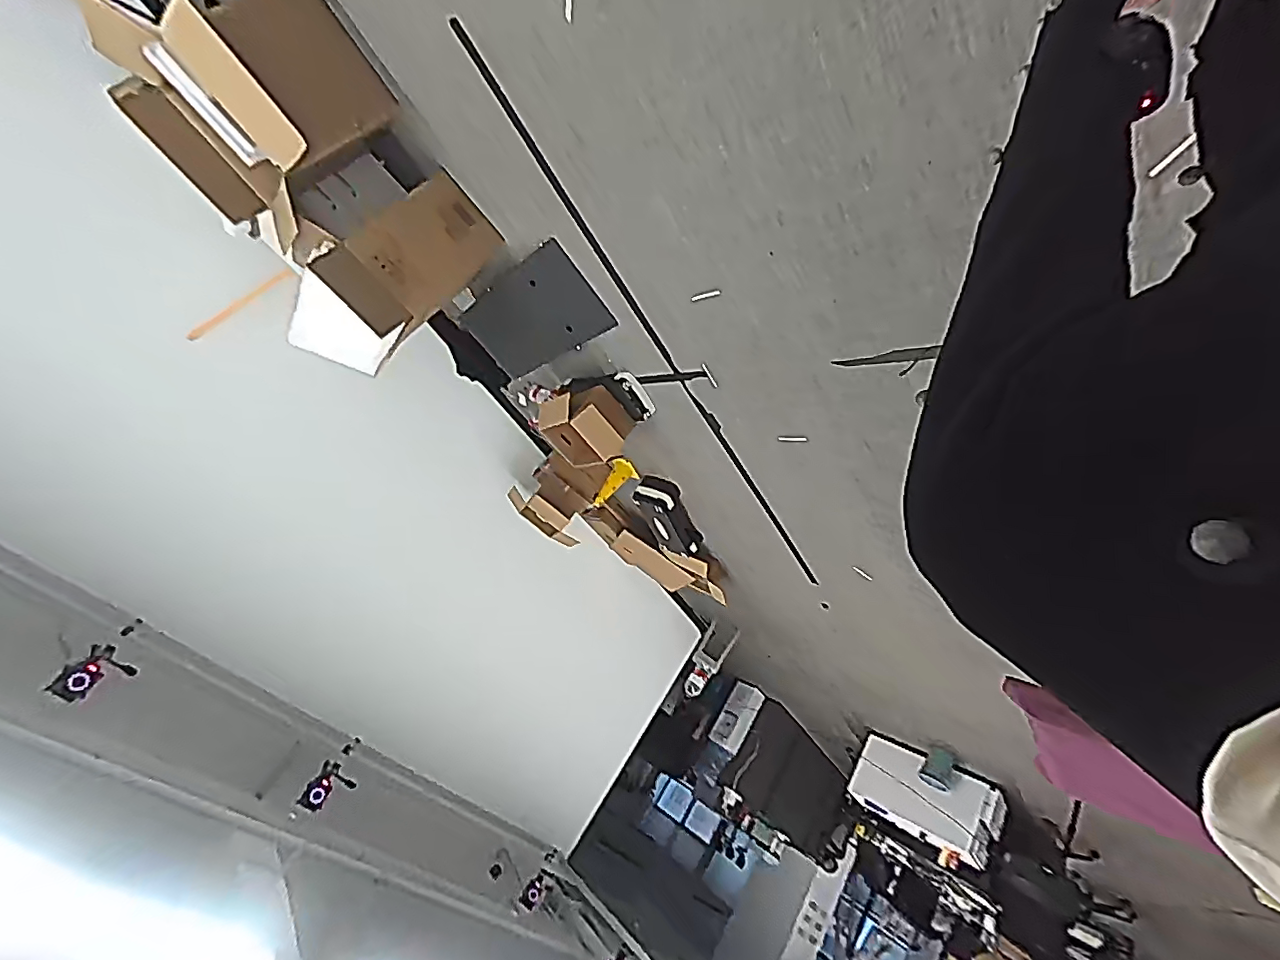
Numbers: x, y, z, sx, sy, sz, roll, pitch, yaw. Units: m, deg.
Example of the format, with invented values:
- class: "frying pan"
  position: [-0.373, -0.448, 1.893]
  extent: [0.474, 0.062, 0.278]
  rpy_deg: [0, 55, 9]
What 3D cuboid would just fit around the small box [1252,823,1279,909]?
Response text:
- class: "small box"
  position: [1.676, 0.994, 1.351]
  extent: [0.179, 0.176, 0.168]
  rpy_deg: [6, 143, 53]
